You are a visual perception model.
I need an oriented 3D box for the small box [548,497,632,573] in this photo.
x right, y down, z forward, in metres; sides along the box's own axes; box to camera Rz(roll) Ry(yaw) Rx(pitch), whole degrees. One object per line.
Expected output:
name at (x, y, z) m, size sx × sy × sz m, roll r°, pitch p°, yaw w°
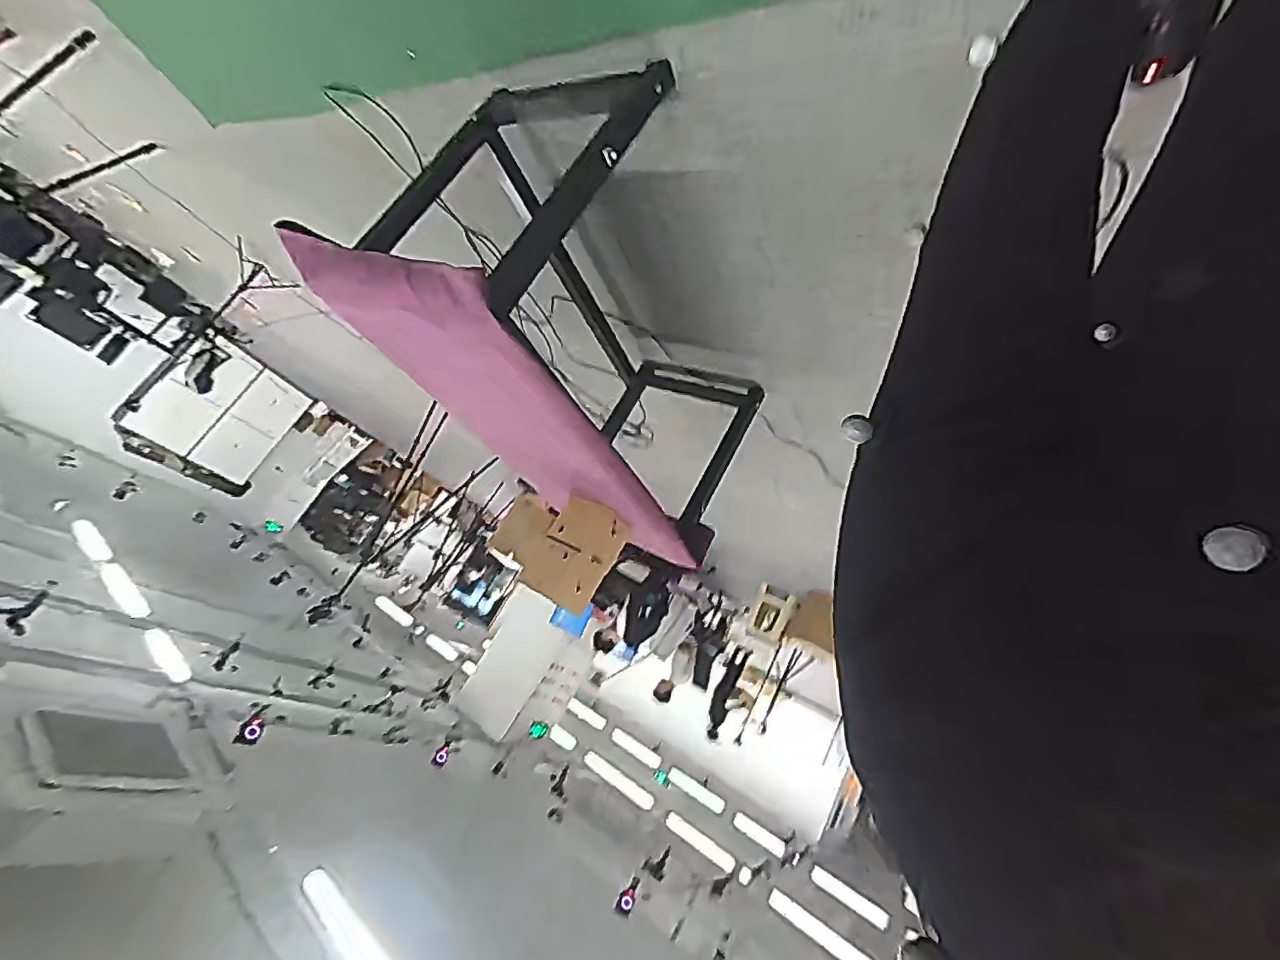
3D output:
small box at (-0.159, 0.174, 1.770) m, size 0.179 × 0.176 × 0.168 m, roll 18°, pitch 159°, yaw 39°

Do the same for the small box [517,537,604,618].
small box at (-0.248, 0.306, 1.721) m, size 0.168 × 0.176 × 0.179 m, roll 21°, pitch 160°, yaw 37°
